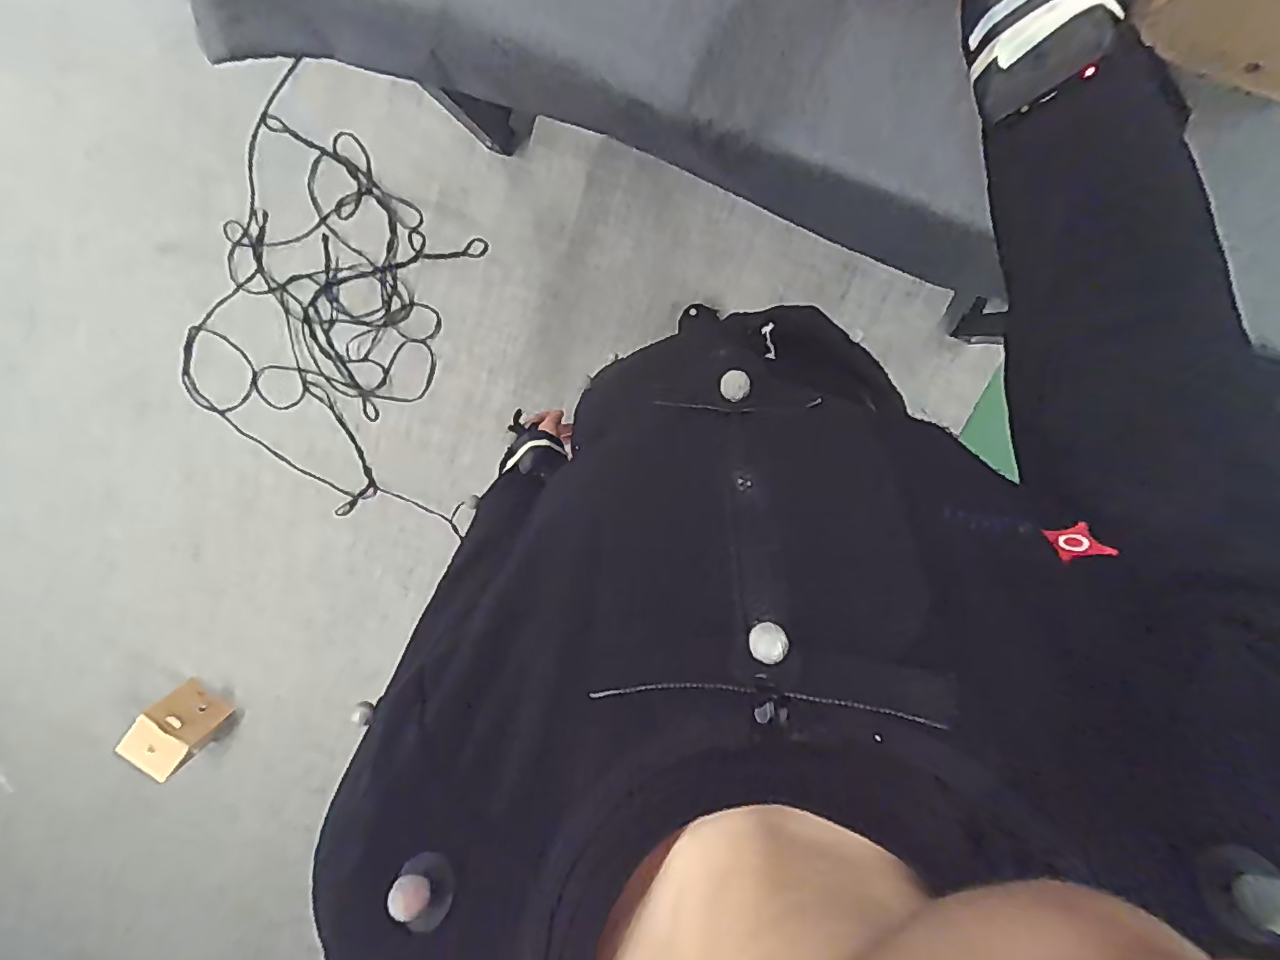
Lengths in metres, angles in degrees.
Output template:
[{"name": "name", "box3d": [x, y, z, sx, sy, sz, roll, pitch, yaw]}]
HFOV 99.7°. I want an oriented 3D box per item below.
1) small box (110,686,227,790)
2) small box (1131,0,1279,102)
[{"name": "small box", "box3d": [-1.378, 0.755, 1.594, 0.168, 0.176, 0.179, 41, 103, -6]}, {"name": "small box", "box3d": [0.512, -0.410, 0.377, 0.168, 0.176, 0.179, 19, 104, -2]}]
